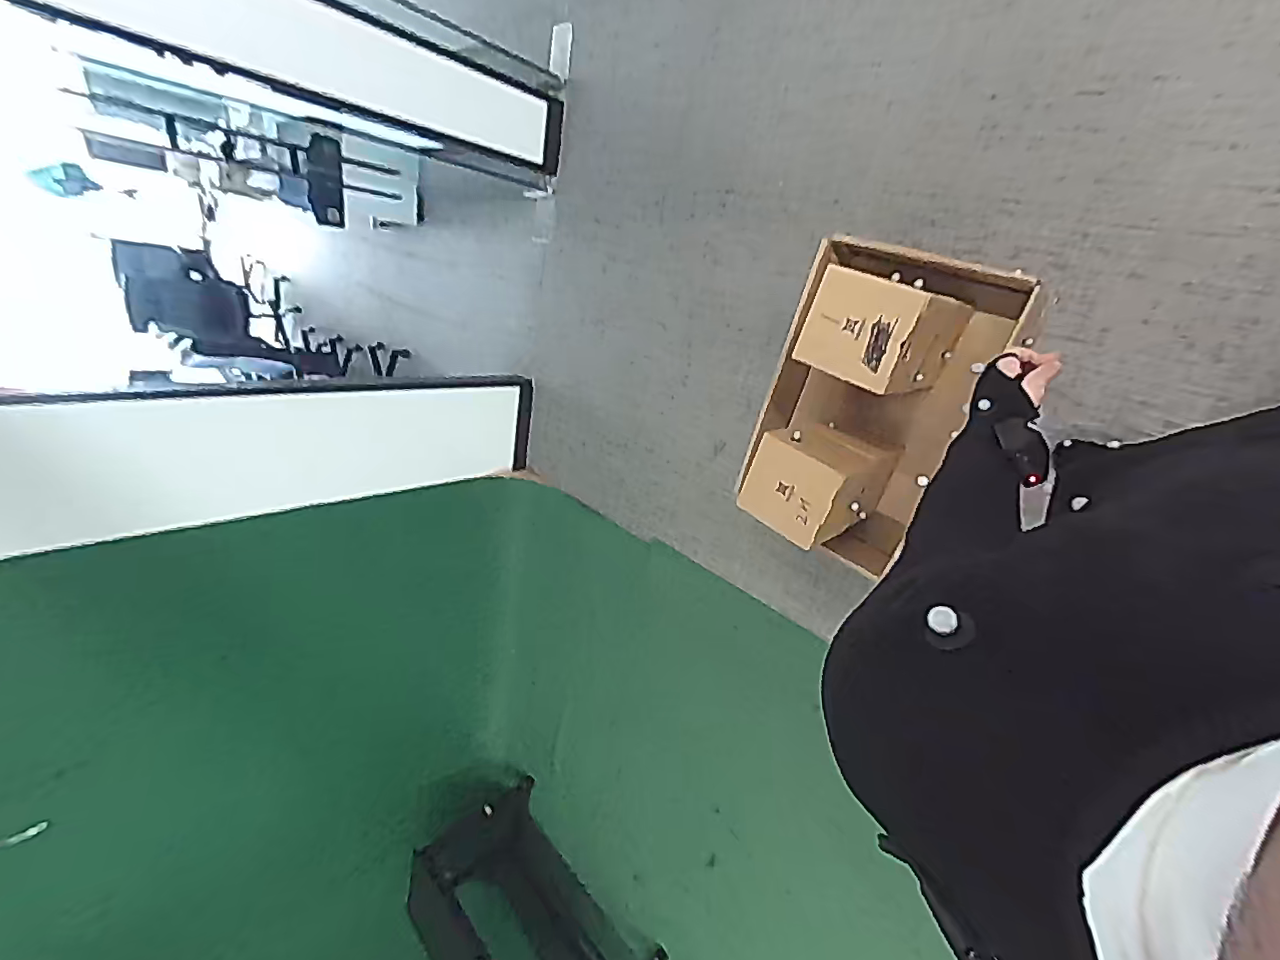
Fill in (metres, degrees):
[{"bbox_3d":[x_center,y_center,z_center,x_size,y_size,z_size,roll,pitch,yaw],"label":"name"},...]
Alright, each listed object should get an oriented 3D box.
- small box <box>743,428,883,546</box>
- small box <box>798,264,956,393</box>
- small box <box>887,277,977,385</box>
[{"bbox_3d":[0.344,0.004,1.076,0.179,0.176,0.168,36,122,33],"label":"small box"},{"bbox_3d":[0.418,-0.264,0.949,0.179,0.176,0.168,35,120,34],"label":"small box"},{"bbox_3d":[0.526,-0.294,1.070,0.179,0.176,0.168,33,120,34],"label":"small box"}]
